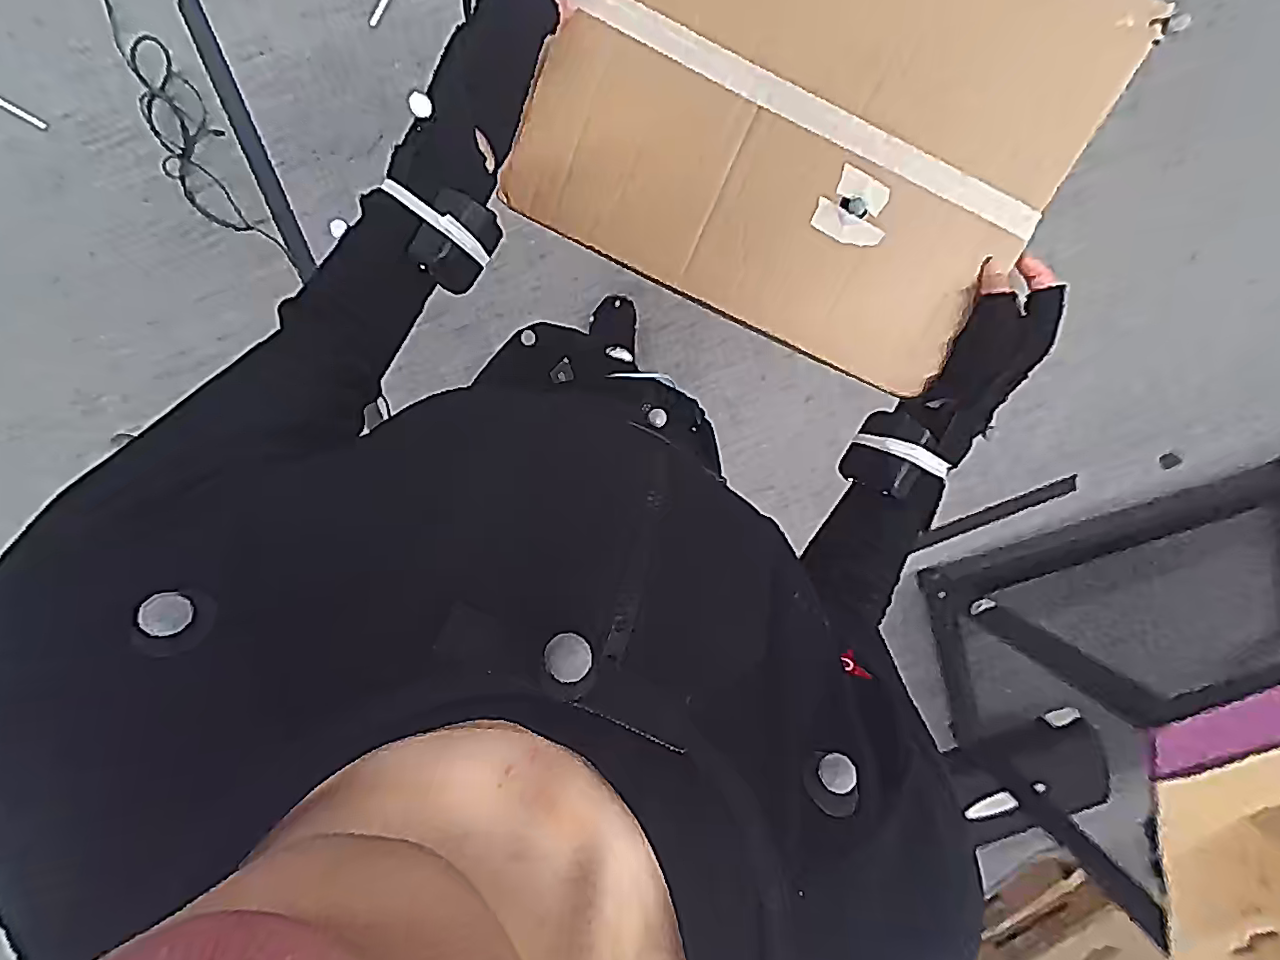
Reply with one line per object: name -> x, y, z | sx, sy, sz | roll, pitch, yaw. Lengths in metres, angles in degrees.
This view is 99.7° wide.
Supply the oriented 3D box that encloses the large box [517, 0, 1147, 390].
large box -> 0.140, -0.336, 0.567 | 0.408, 0.320, 0.320 | 24, 109, -6
